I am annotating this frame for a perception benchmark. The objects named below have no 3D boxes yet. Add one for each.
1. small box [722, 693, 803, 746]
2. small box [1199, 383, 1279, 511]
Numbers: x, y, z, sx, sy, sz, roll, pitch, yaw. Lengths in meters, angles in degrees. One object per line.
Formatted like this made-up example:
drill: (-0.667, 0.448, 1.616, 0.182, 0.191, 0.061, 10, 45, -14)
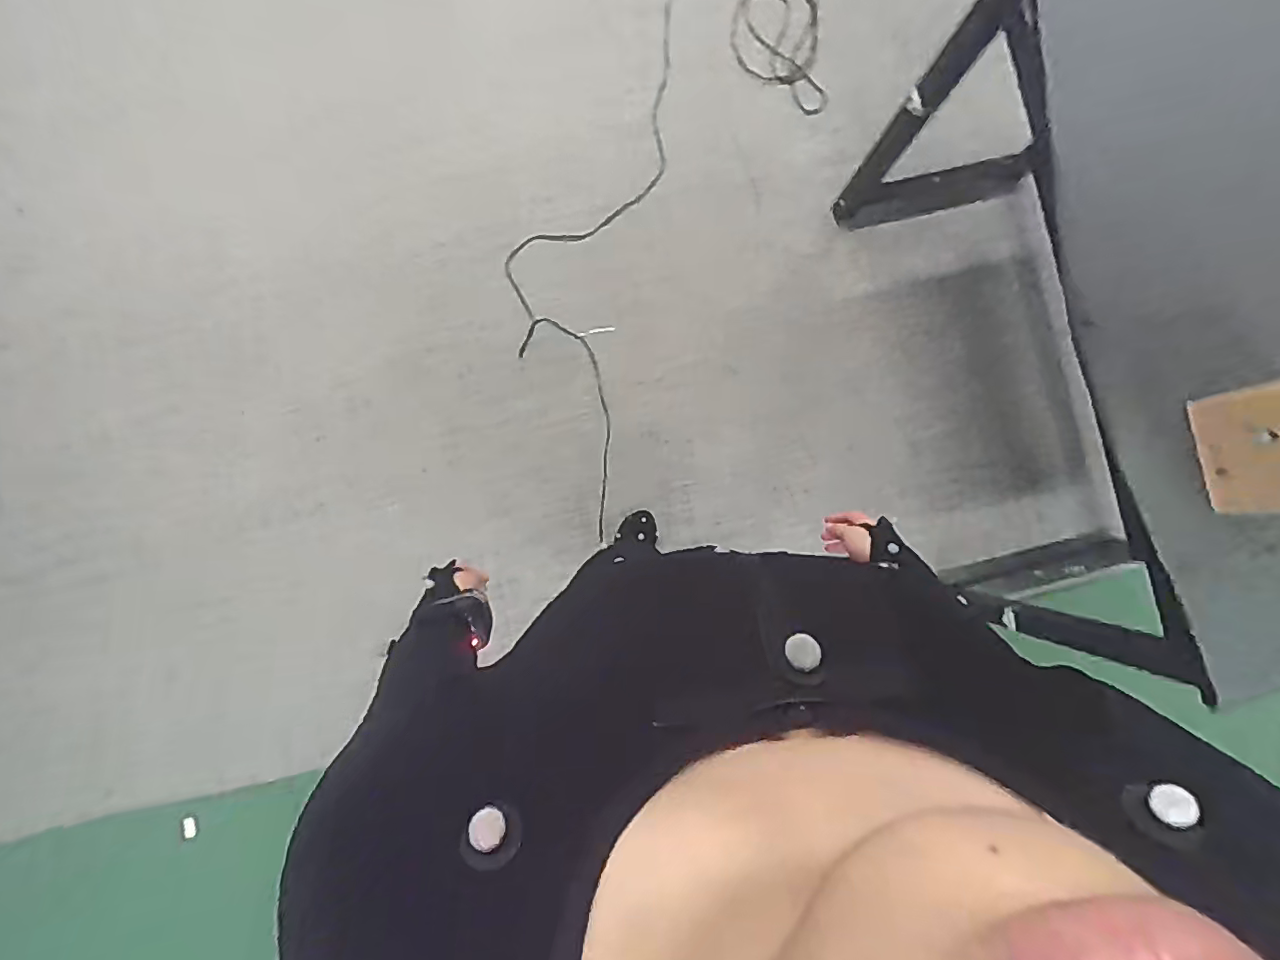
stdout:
small box: (0.308, 0.662, 1.389, 0.168, 0.176, 0.179, 3, 87, -1)
small box: (0.905, -0.054, 0.713, 0.179, 0.176, 0.168, -13, 88, -4)
